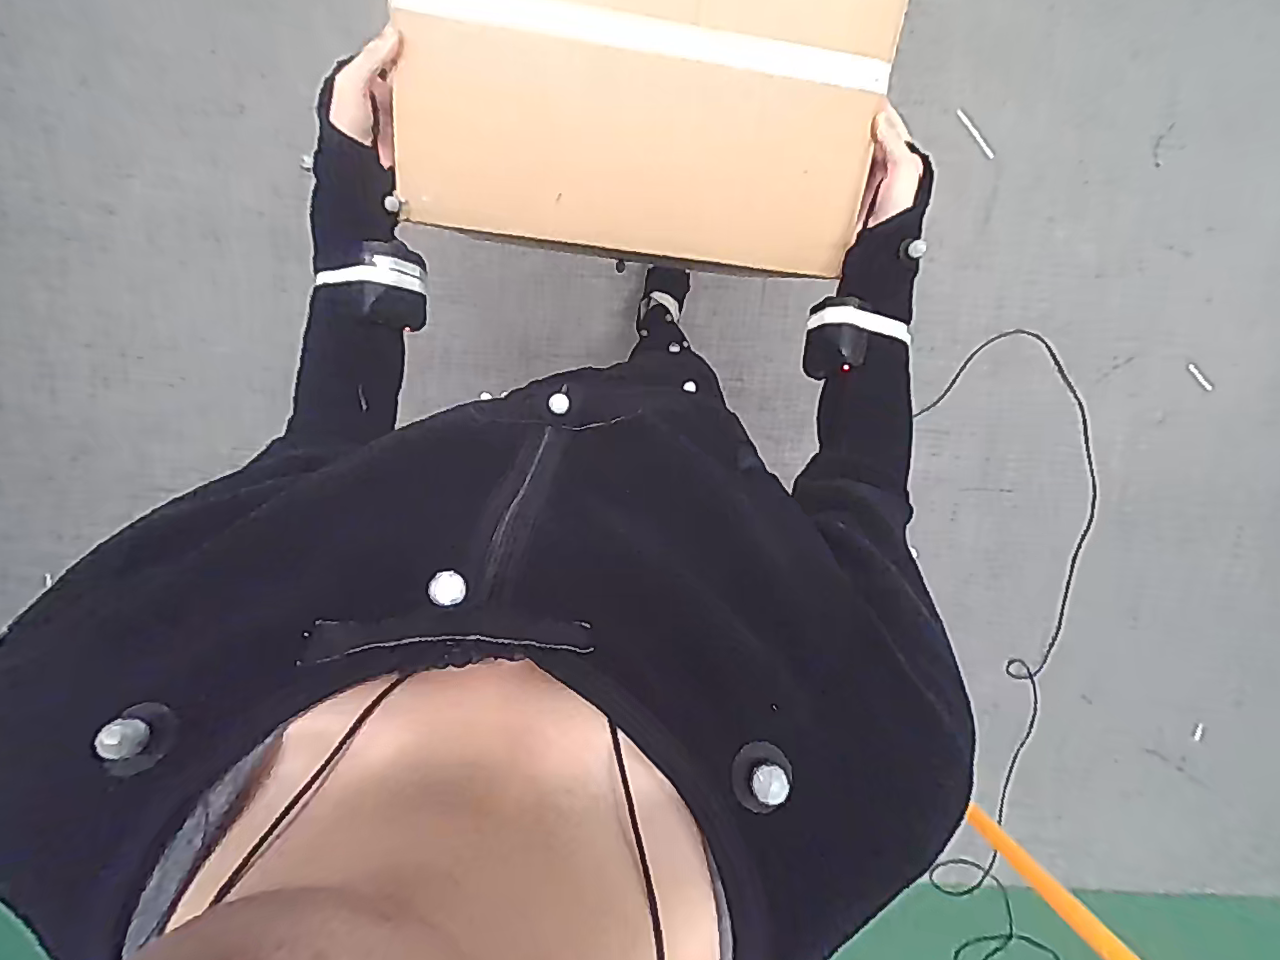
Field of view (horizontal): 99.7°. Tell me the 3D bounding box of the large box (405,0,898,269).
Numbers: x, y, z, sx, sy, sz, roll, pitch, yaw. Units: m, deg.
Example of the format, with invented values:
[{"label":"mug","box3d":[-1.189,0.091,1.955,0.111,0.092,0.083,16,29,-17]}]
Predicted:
[{"label":"large box","box3d":[0.002,-0.412,0.584,0.408,0.320,0.320,5,110,-6]}]
